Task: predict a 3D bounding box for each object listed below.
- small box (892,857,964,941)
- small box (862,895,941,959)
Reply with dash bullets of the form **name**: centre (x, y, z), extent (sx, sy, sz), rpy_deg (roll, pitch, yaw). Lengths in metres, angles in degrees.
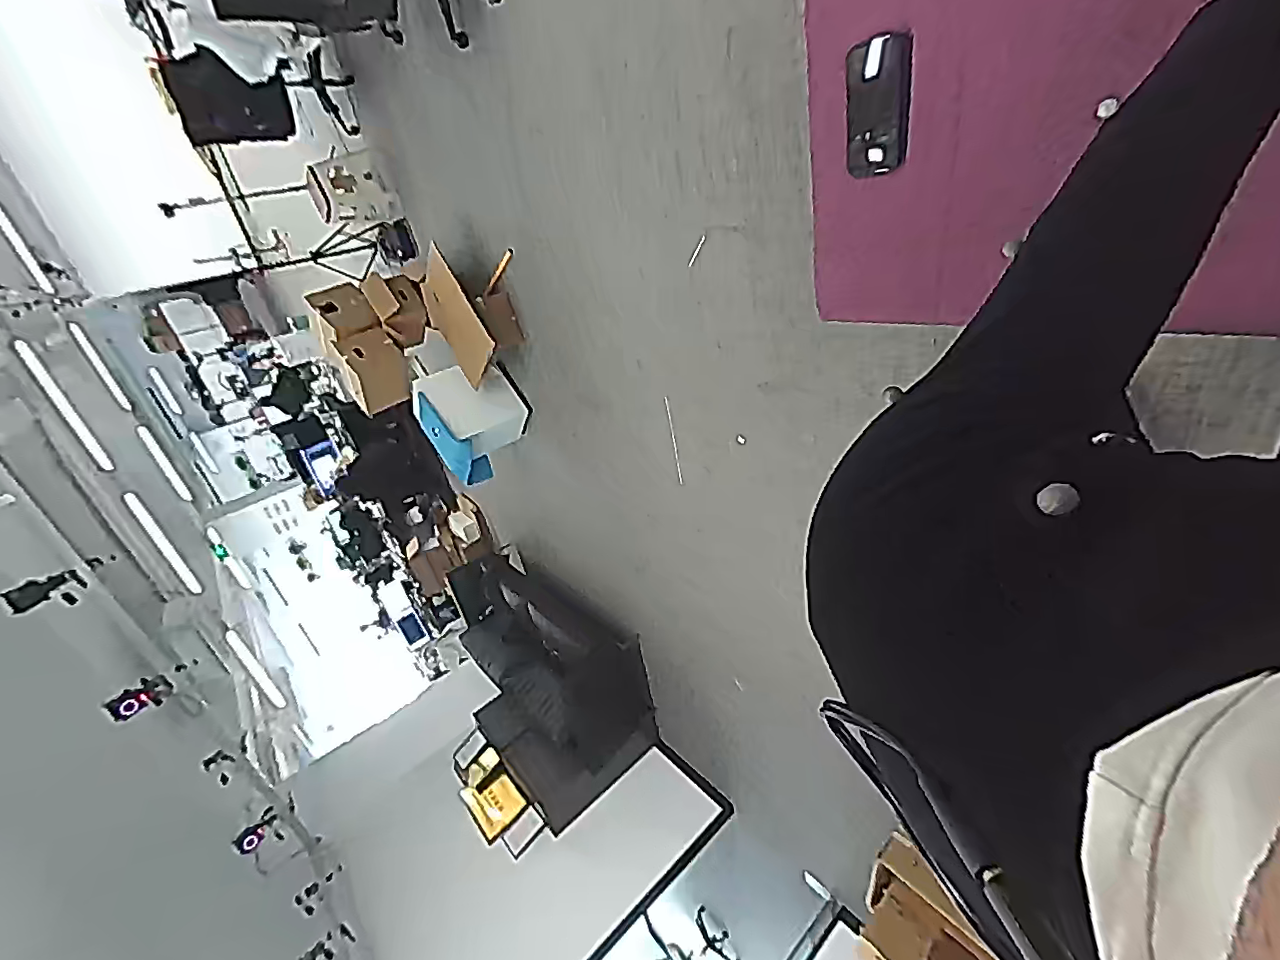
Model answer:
- **small box**: centre (0.987, 1.461, 1.865), extent (0.168, 0.176, 0.179), rpy_deg (28, 136, 44)
- **small box**: centre (0.862, 1.525, 1.778), extent (0.168, 0.176, 0.179), rpy_deg (30, 138, 44)
